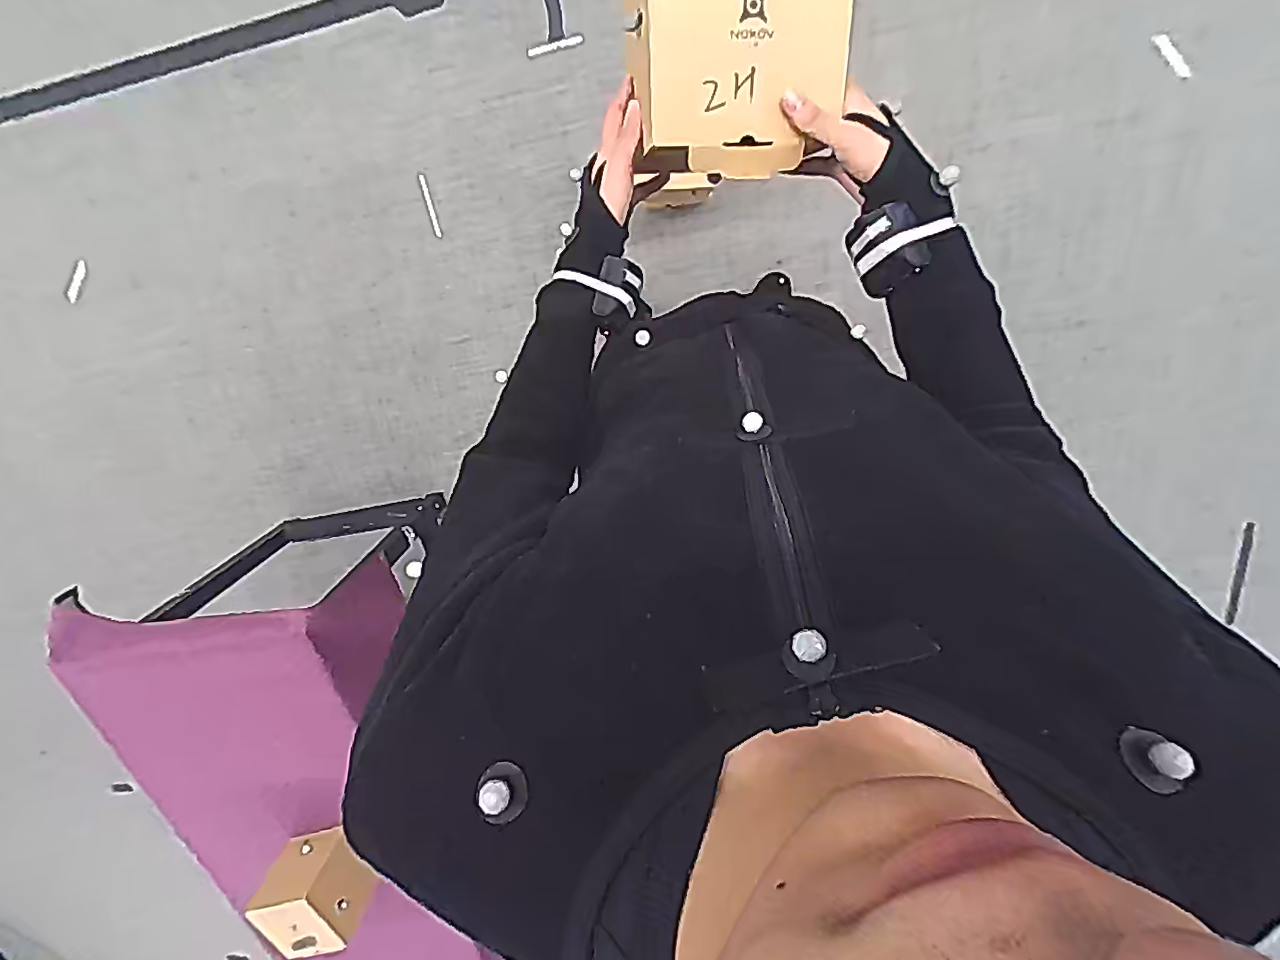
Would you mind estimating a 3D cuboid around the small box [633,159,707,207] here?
[{"bbox_3d":[0.070,-0.764,1.301,0.168,0.176,0.179,-6,112,5],"label":"small box"}]

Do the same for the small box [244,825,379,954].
[{"bbox_3d":[-0.754,0.952,1.264,0.168,0.176,0.179,-20,110,10],"label":"small box"}]

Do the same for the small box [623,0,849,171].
[{"bbox_3d":[0.075,-0.396,0.496,0.168,0.176,0.179,-4,113,-6],"label":"small box"}]
